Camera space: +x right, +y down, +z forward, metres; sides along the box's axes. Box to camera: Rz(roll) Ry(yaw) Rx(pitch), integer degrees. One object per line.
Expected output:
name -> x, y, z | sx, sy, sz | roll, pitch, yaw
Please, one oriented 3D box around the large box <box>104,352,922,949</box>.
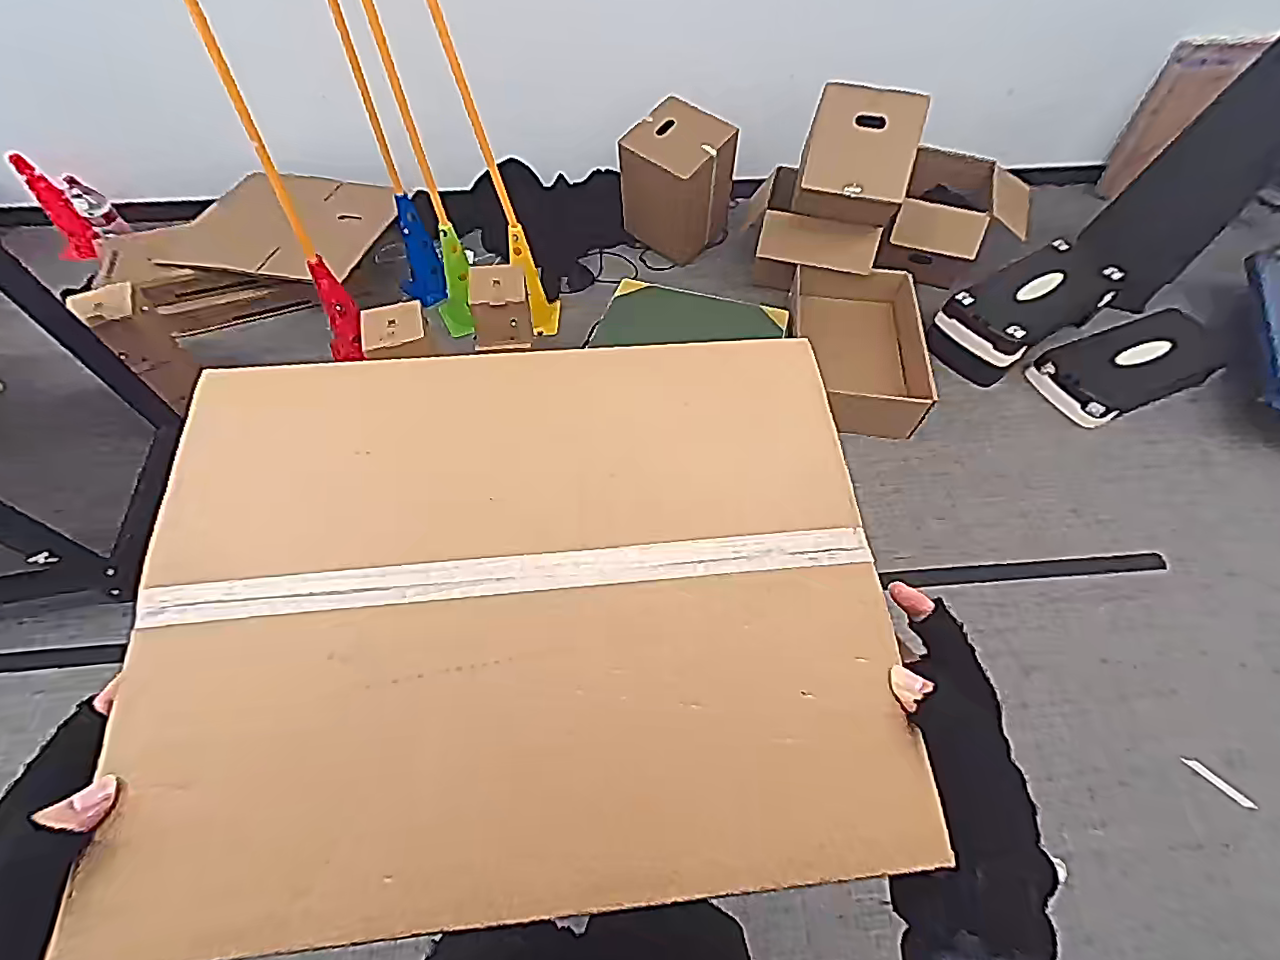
large box -> -0.072, 0.121, 0.457 | 0.408, 0.320, 0.320 | -4, 67, -4
